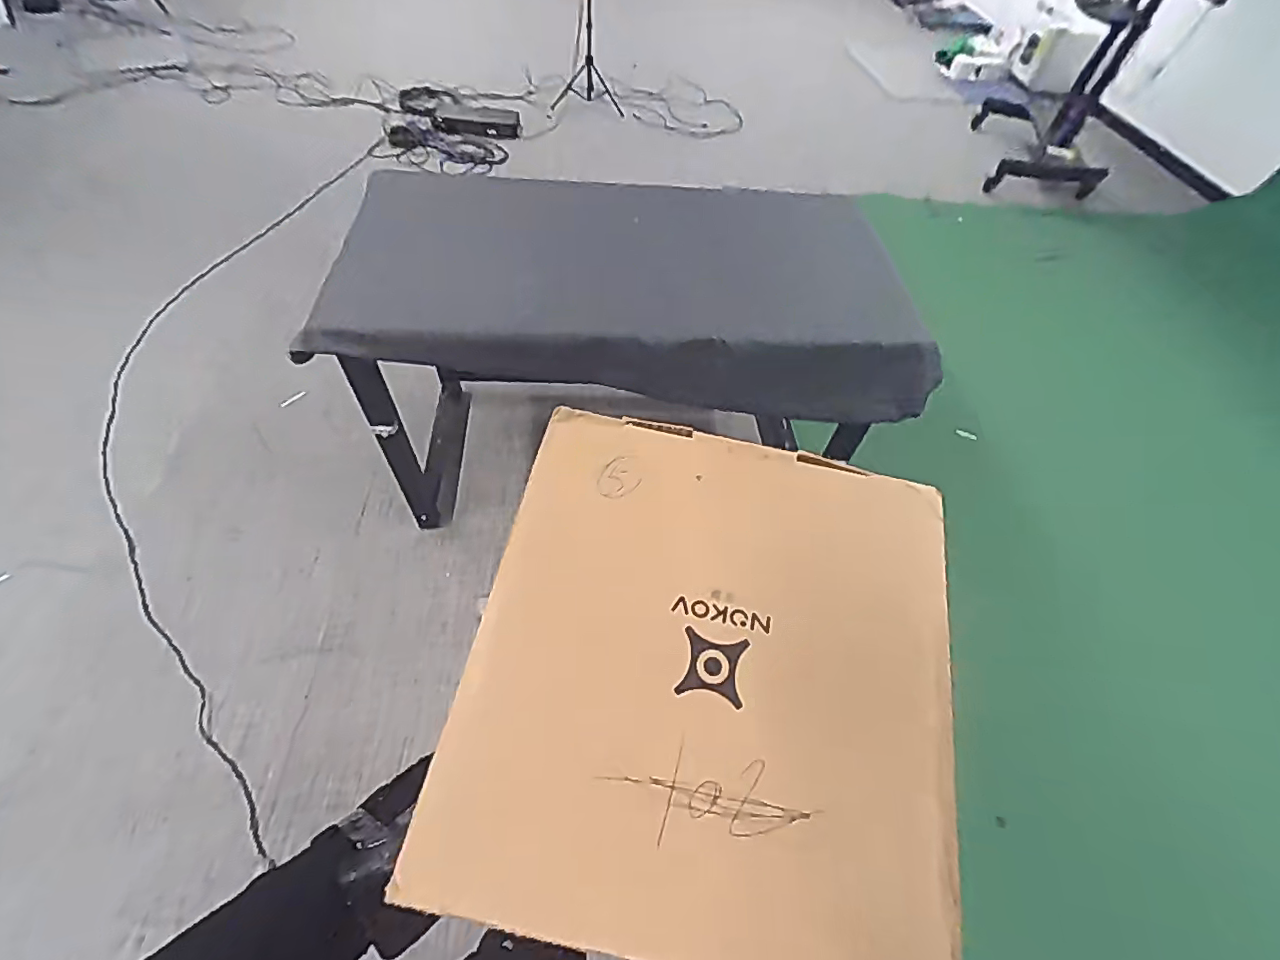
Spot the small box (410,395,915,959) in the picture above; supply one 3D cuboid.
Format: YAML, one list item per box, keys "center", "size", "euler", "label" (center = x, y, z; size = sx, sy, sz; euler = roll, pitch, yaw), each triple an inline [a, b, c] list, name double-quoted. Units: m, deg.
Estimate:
- center: [0.017, 0.088, 0.277]
  size: [0.168, 0.176, 0.179]
  euler: [12, 65, 3]
  label: "small box"
